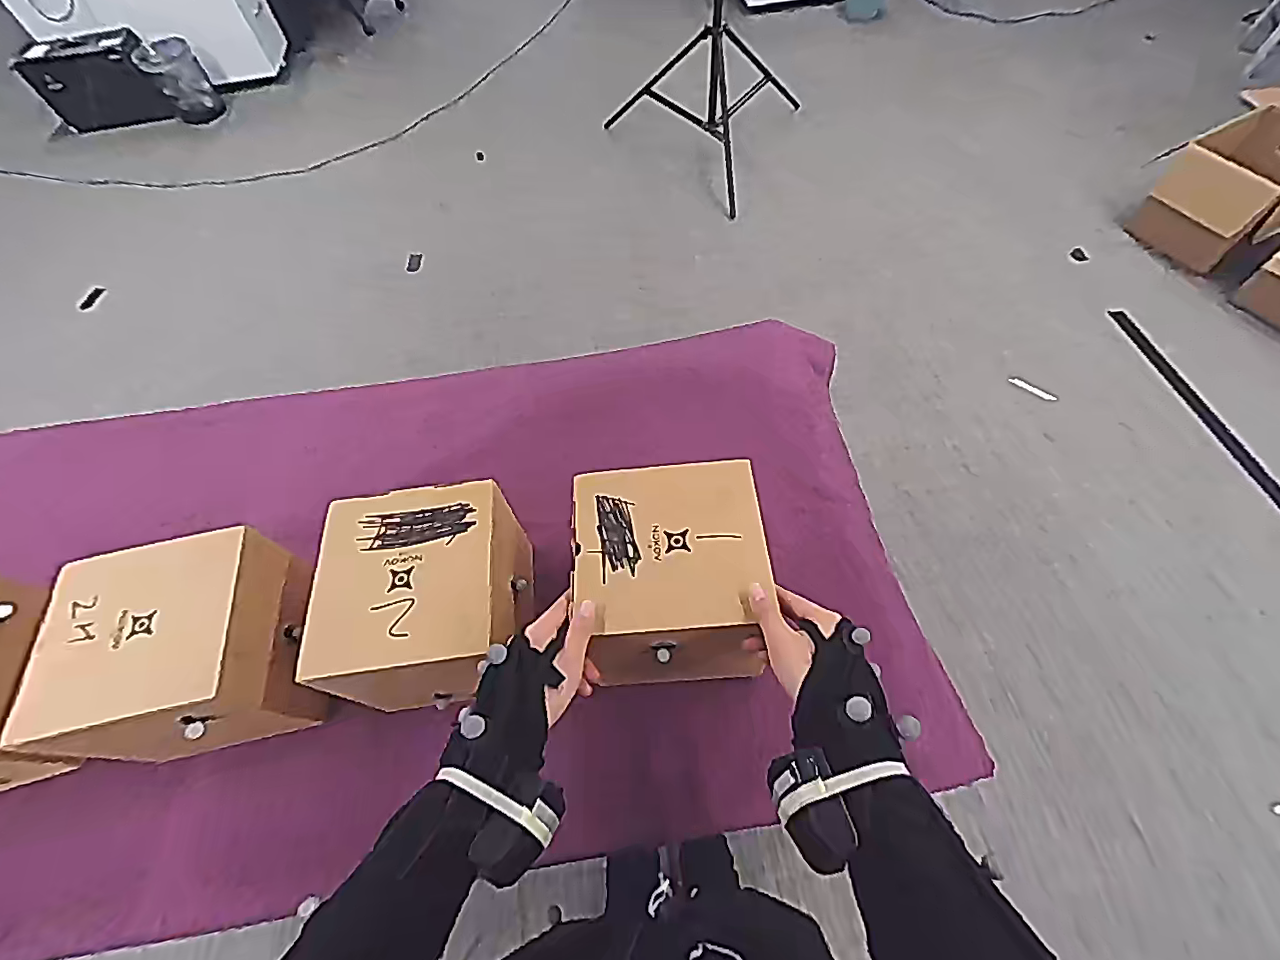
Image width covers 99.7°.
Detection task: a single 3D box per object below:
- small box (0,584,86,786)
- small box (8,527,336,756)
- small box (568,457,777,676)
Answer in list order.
[{"bbox_3d":[-0.695,0.218,0.548,0.168,0.176,0.179,-15,59,-5],"label":"small box"},{"bbox_3d":[-0.443,0.171,0.554,0.179,0.176,0.168,-13,59,-3],"label":"small box"},{"bbox_3d":[0.031,0.095,0.554,0.179,0.176,0.168,-4,56,2],"label":"small box"}]
